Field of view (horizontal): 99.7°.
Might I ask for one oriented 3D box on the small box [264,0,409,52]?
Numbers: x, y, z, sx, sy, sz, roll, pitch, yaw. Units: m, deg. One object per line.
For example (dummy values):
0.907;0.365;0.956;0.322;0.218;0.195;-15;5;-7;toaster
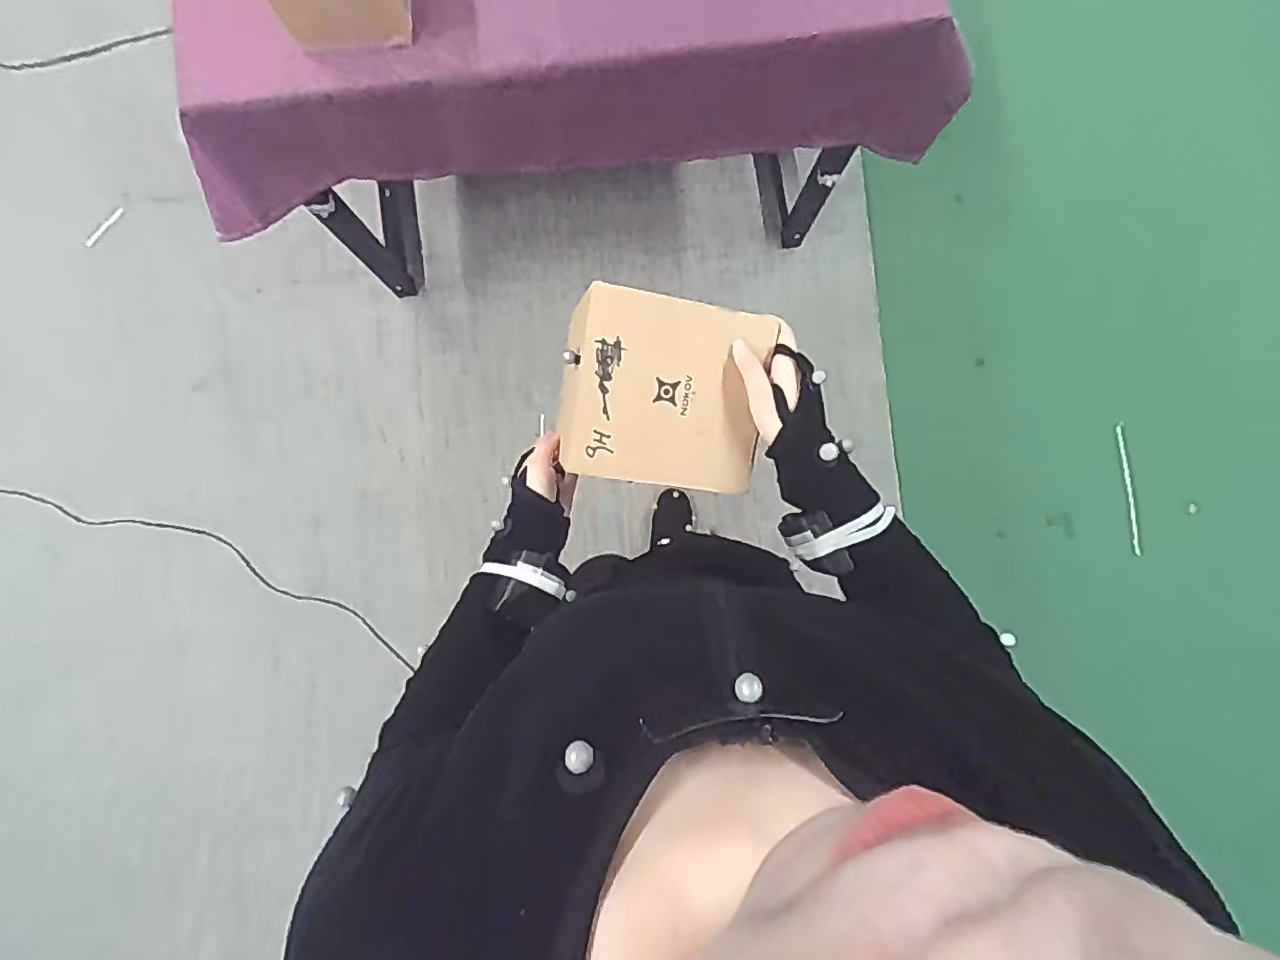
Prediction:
-0.448;-0.748;0.762;0.179;0.176;0.168;-5;86;-2;small box
